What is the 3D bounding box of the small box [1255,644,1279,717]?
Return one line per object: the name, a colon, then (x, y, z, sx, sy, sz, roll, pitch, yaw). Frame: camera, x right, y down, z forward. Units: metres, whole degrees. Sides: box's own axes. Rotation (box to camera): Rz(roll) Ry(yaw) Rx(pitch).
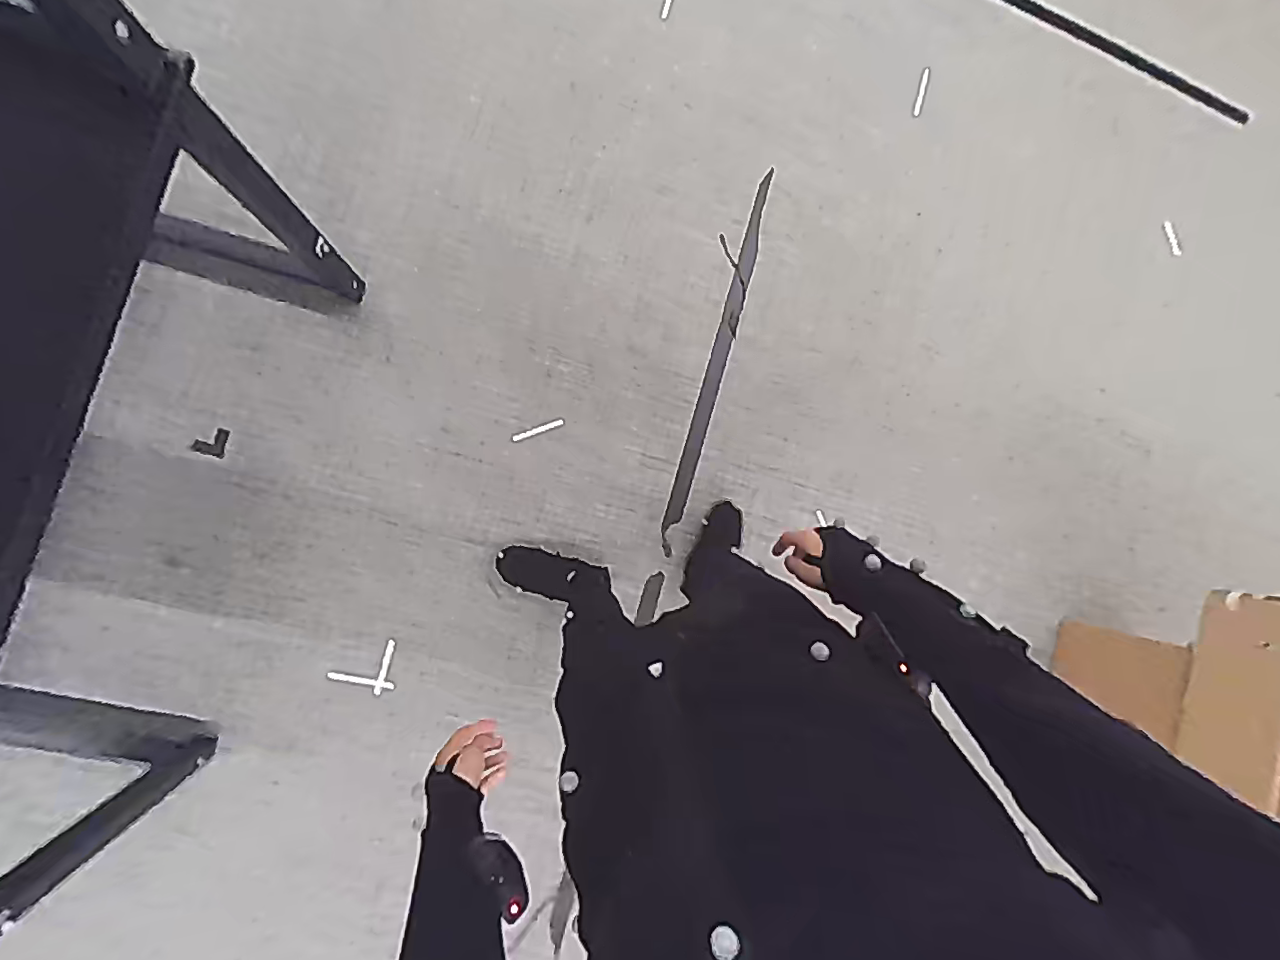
small box: (1.597, 0.486, 1.246, 0.179, 0.176, 0.168, 8, 88, -10)
